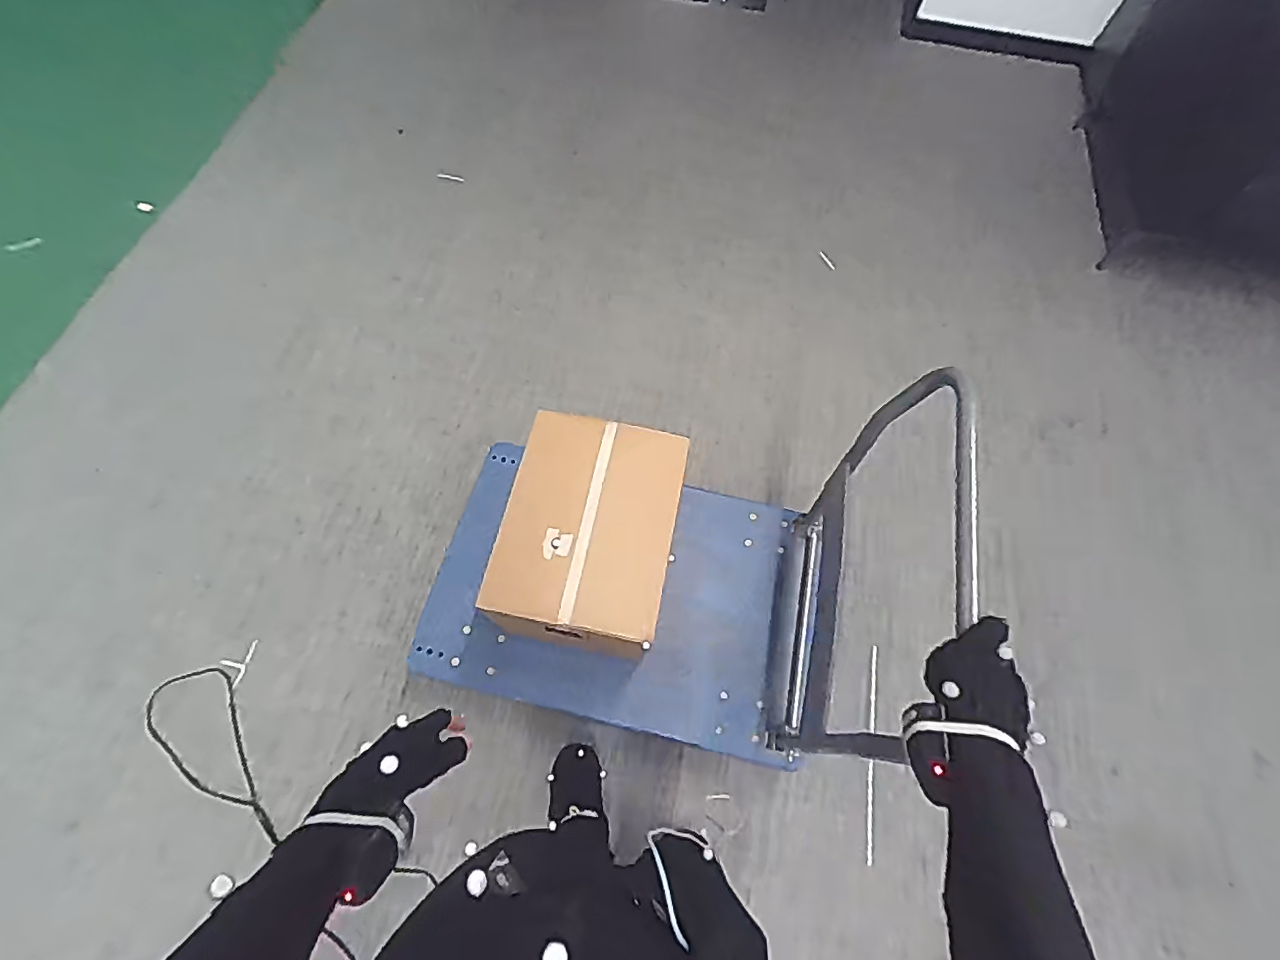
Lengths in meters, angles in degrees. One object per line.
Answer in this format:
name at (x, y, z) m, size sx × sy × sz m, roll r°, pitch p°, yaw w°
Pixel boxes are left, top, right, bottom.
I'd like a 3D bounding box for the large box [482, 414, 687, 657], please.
large box at (-0.096, 0.128, 1.138) m, size 0.320 × 0.320 × 0.408 m, roll 11°, pitch 67°, yaw 3°
